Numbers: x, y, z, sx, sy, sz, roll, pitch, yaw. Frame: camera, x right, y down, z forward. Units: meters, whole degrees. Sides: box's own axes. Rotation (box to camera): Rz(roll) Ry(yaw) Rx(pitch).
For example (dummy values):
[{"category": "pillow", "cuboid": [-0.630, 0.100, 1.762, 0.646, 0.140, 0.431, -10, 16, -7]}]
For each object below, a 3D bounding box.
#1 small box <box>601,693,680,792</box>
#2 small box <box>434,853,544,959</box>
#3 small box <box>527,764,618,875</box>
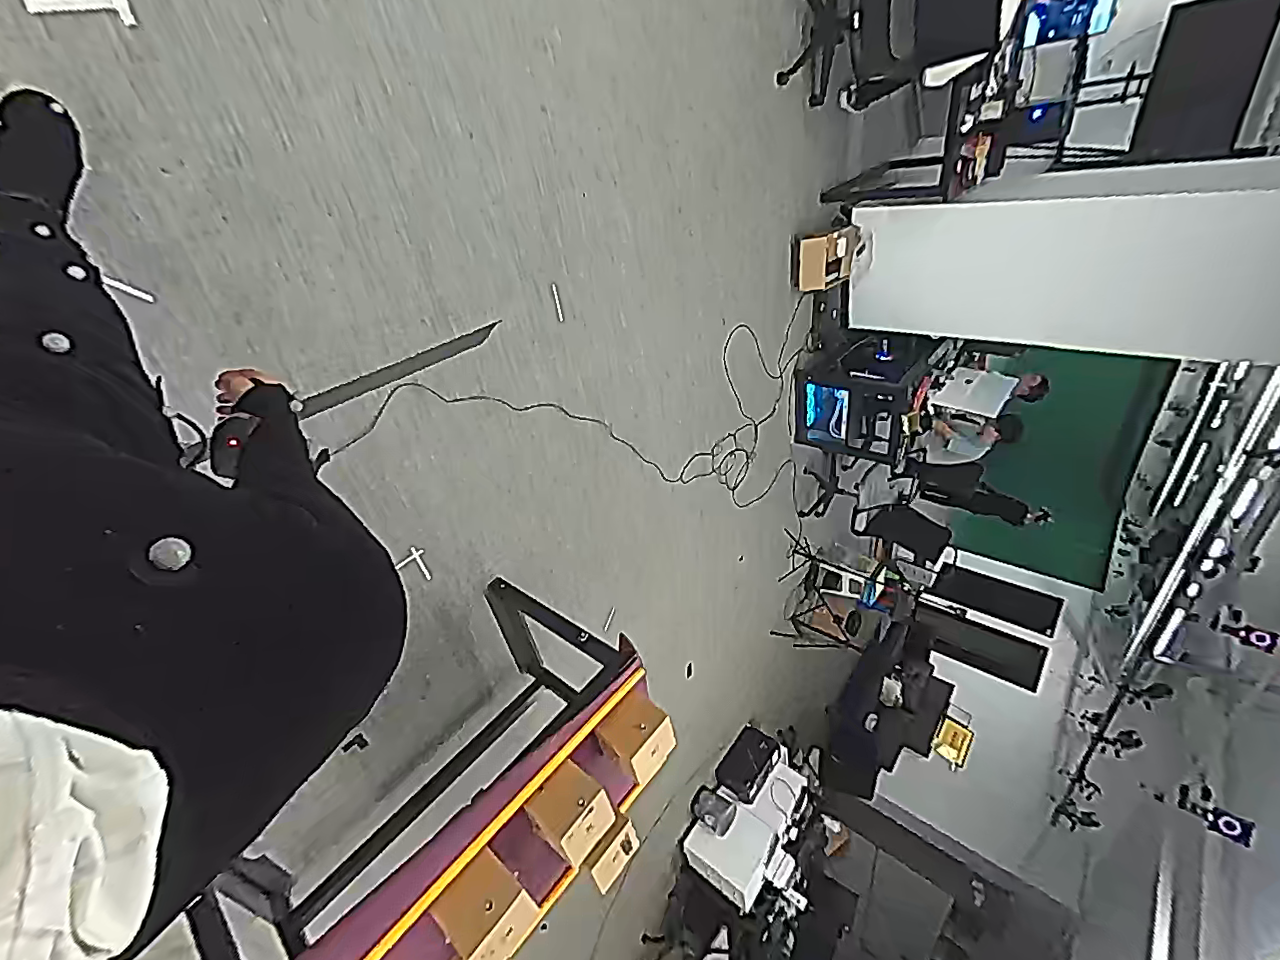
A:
[{"category": "small box", "cuboid": [-0.004, 0.805, 1.670, 0.179, 0.176, 0.168, -39, 132, -34]}, {"category": "small box", "cuboid": [-0.372, 1.079, 1.338, 0.179, 0.176, 0.168, -39, 133, -34]}, {"category": "small box", "cuboid": [-0.187, 0.936, 1.504, 0.168, 0.176, 0.179, -39, 132, -35]}]
